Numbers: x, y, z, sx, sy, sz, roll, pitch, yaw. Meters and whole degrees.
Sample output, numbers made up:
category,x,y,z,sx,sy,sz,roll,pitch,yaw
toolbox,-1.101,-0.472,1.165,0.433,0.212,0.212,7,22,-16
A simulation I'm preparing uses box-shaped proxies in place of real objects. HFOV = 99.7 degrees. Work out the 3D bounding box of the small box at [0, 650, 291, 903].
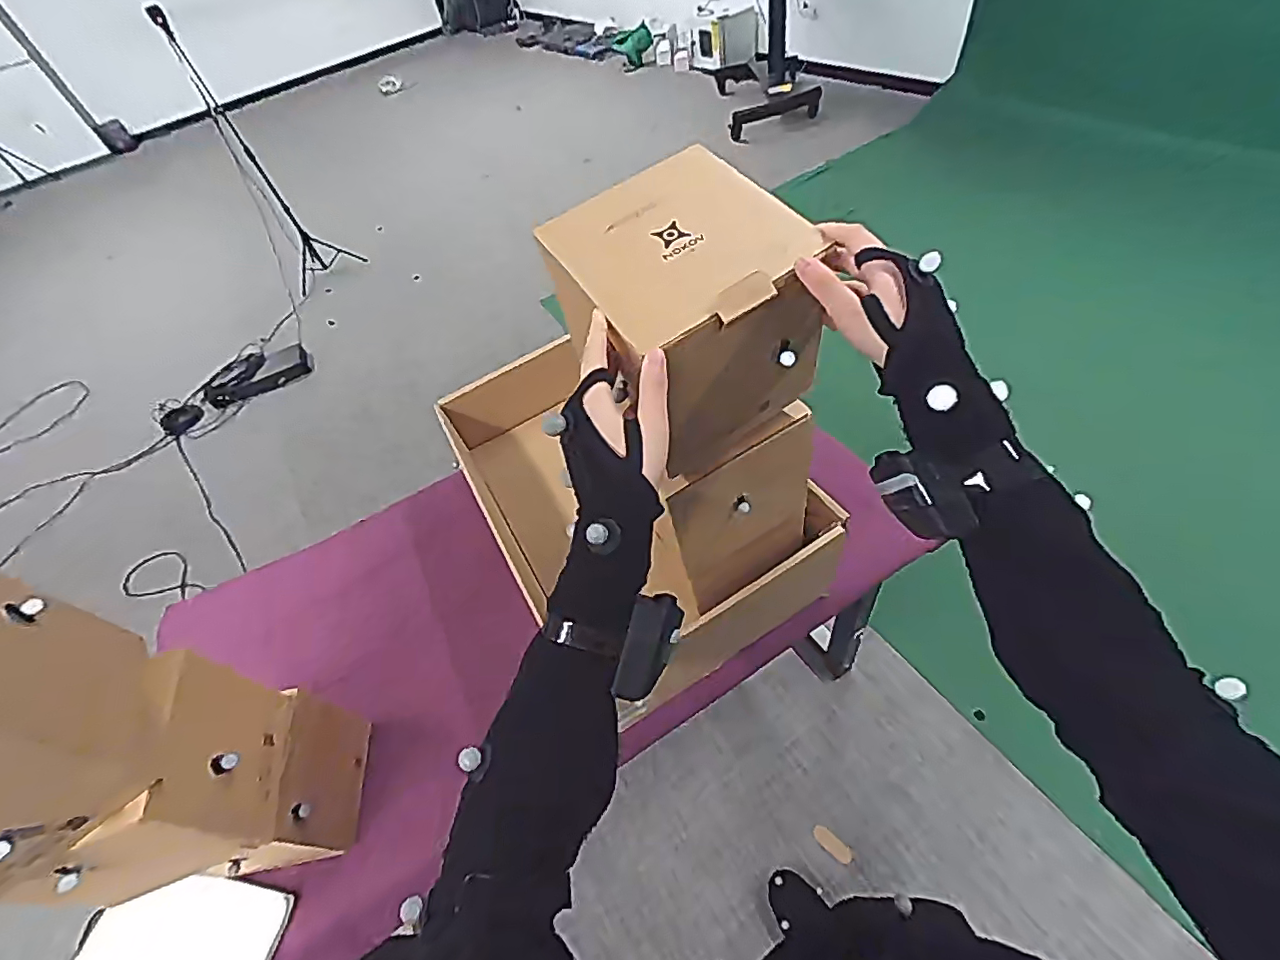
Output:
category,x,y,z,sx,sy,sz,roll,pitch,yaw
small box,-0.501,0.307,0.559,0.179,0.176,0.168,-20,50,-4

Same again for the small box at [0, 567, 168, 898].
category,x,y,z,sx,sy,sz,roll,pitch,yaw
small box,-0.535,0.206,0.433,0.168,0.176,0.179,-38,54,-17

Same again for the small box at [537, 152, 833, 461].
category,x,y,z,sx,sy,sz,roll,pitch,yaw
small box,0.040,-0.139,0.477,0.168,0.176,0.179,-31,59,-8

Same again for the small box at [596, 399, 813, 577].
category,x,y,z,sx,sy,sz,roll,pitch,yaw
small box,0.076,-0.022,0.629,0.179,0.176,0.168,-30,51,-9
